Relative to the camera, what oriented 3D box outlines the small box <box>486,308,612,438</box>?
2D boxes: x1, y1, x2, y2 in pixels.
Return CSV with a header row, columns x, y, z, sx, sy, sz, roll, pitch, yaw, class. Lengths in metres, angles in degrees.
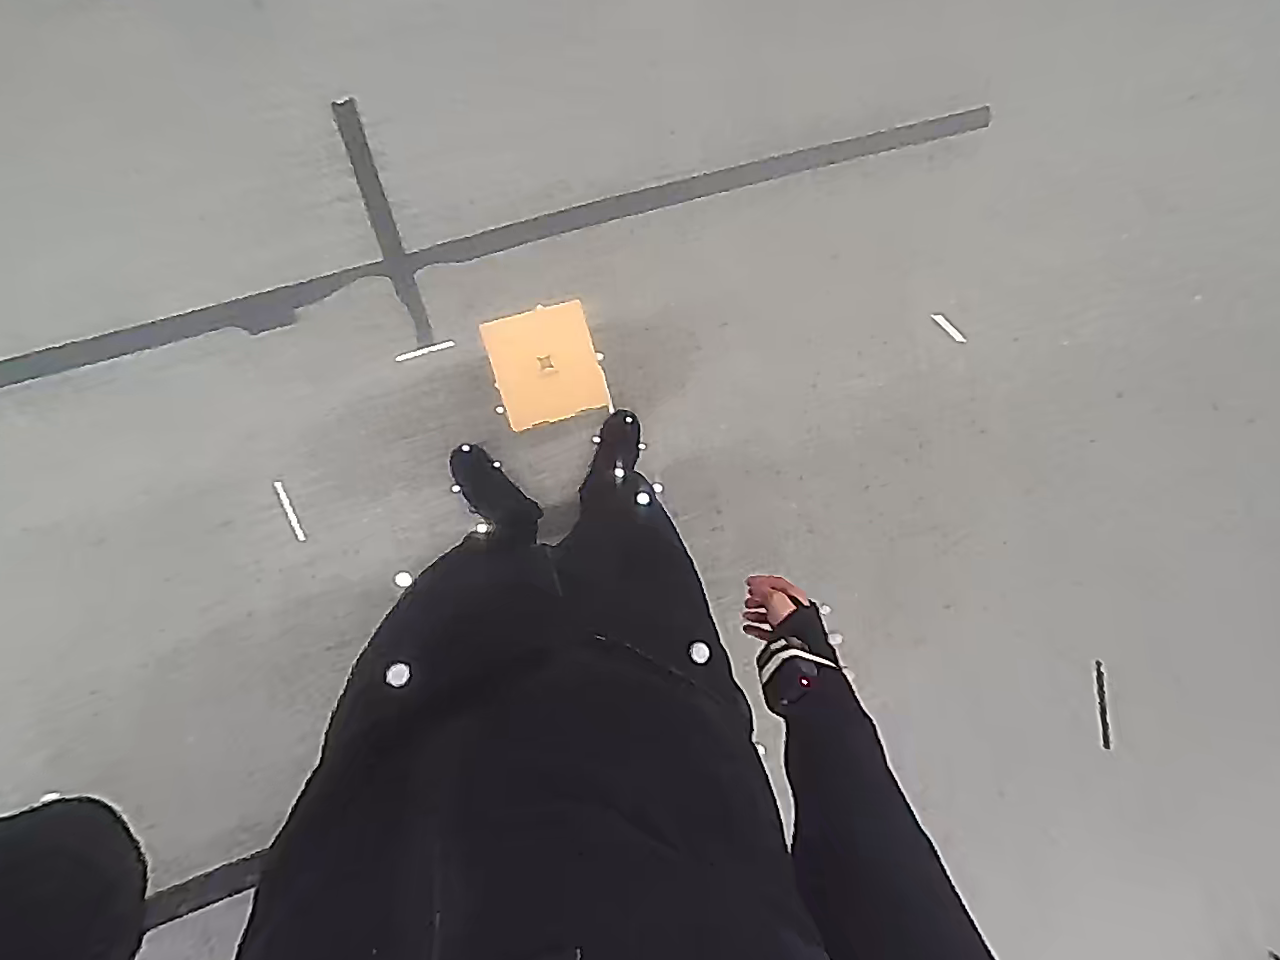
x,y,z,sx,sy,sz,roll,pitch,yaw,class
-0.161,-0.183,0.941,0.168,0.176,0.179,-18,103,-9,small box
